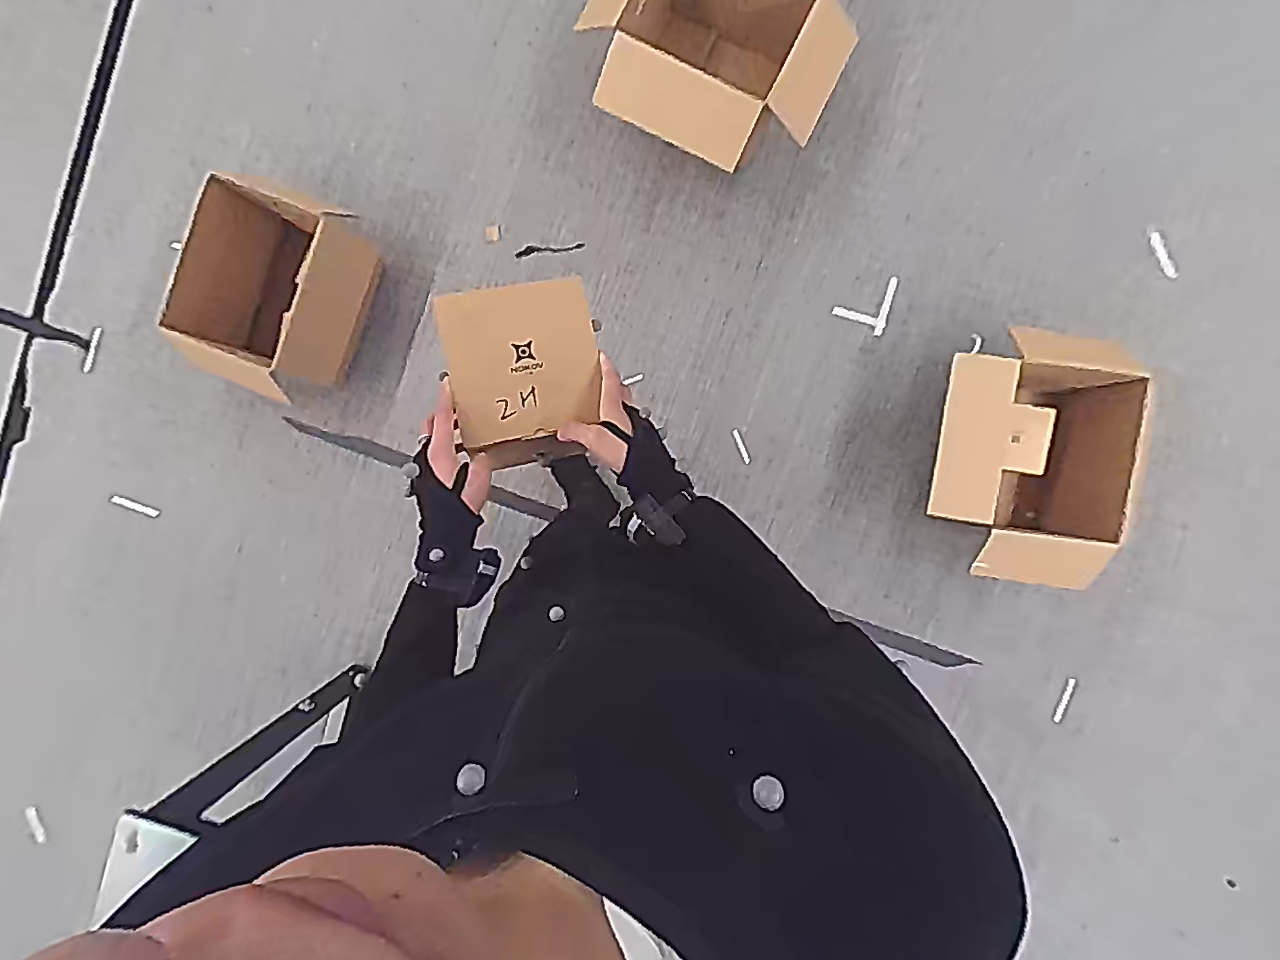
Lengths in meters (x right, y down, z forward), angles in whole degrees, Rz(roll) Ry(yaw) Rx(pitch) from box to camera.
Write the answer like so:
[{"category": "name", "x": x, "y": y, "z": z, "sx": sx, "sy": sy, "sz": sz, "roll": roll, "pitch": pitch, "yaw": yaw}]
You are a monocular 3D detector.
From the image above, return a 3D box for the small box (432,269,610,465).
[{"category": "small box", "x": -0.141, "y": -0.128, "z": 0.662, "sx": 0.168, "sy": 0.176, "sz": 0.179, "roll": -12, "pitch": 85, "yaw": -10}]

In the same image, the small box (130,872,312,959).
[{"category": "small box", "x": -0.674, "y": 0.776, "z": 0.860, "sx": 0.179, "sy": 0.176, "sz": 0.168, "roll": 20, "pitch": 94, "yaw": 0}]
